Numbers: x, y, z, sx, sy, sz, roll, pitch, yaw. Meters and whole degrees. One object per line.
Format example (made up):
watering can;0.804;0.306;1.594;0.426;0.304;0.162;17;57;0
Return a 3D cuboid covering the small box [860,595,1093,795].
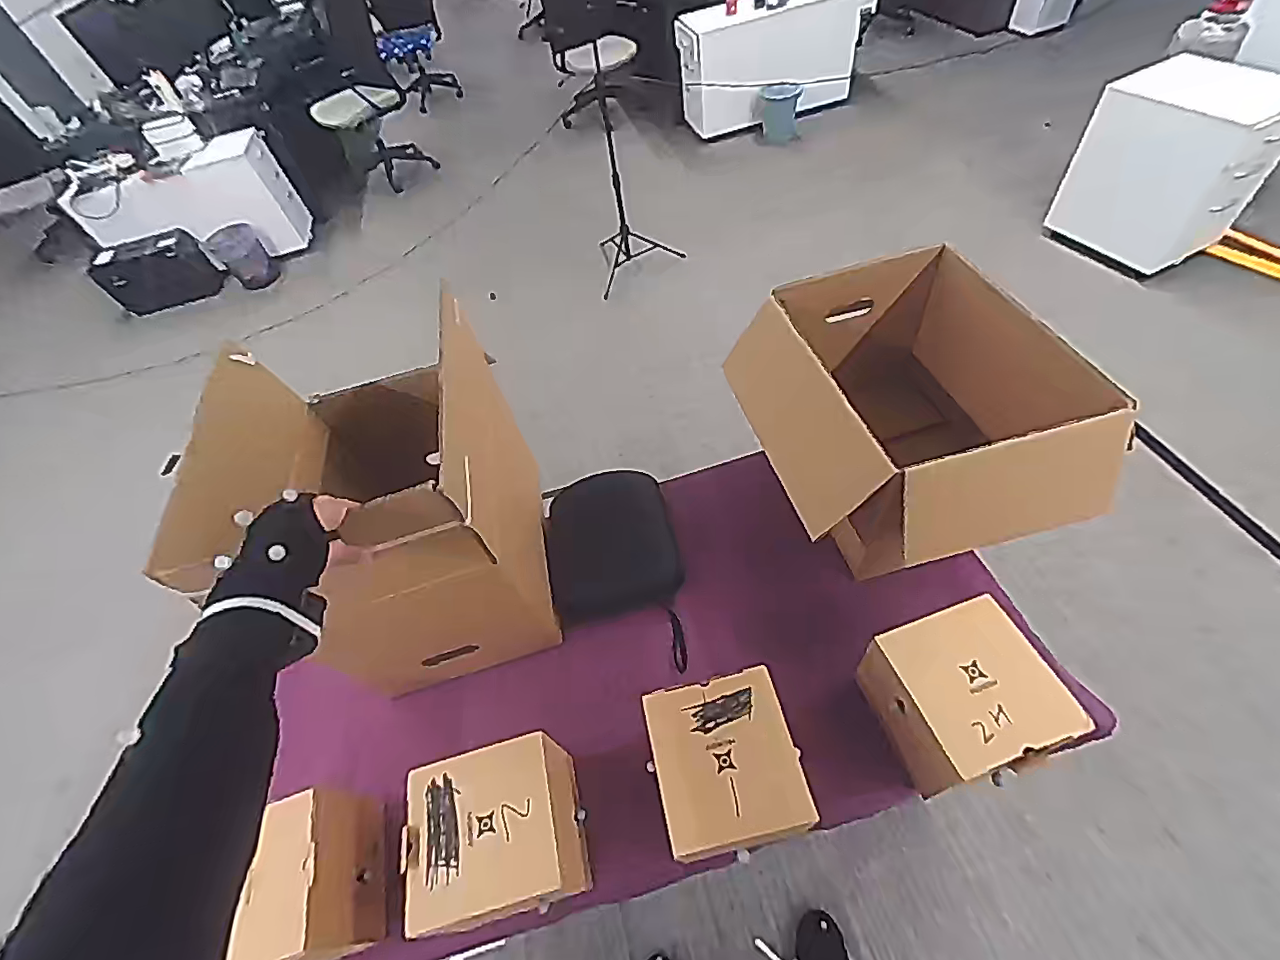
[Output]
small box;0.412;0.284;0.706;0.168;0.176;0.179;-19;53;-3

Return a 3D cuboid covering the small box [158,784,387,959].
small box;-0.451;0.517;0.690;0.179;0.176;0.168;-18;53;-5

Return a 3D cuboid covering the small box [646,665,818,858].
small box;0.110;0.368;0.700;0.168;0.176;0.179;-14;53;0
